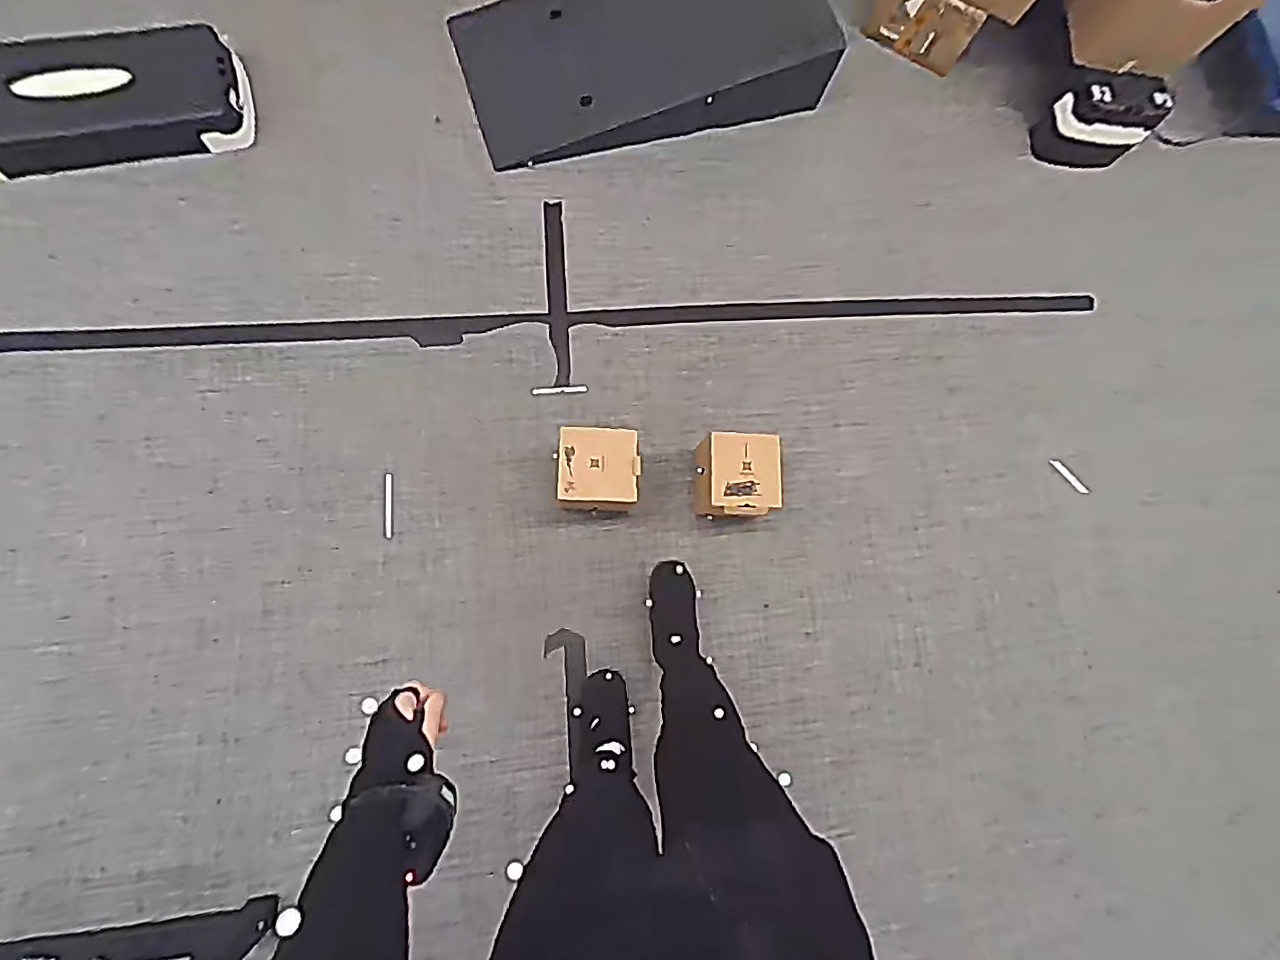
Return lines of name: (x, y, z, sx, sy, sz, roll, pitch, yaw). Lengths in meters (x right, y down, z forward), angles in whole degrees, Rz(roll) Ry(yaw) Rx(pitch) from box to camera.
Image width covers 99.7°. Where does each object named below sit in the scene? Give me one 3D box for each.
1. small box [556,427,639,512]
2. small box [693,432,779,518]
small box: (-0.103, -0.017, 1.257, 0.179, 0.176, 0.168, 3, 79, -8)
small box: (0.227, -0.005, 1.300, 0.168, 0.176, 0.179, 3, 78, -7)
